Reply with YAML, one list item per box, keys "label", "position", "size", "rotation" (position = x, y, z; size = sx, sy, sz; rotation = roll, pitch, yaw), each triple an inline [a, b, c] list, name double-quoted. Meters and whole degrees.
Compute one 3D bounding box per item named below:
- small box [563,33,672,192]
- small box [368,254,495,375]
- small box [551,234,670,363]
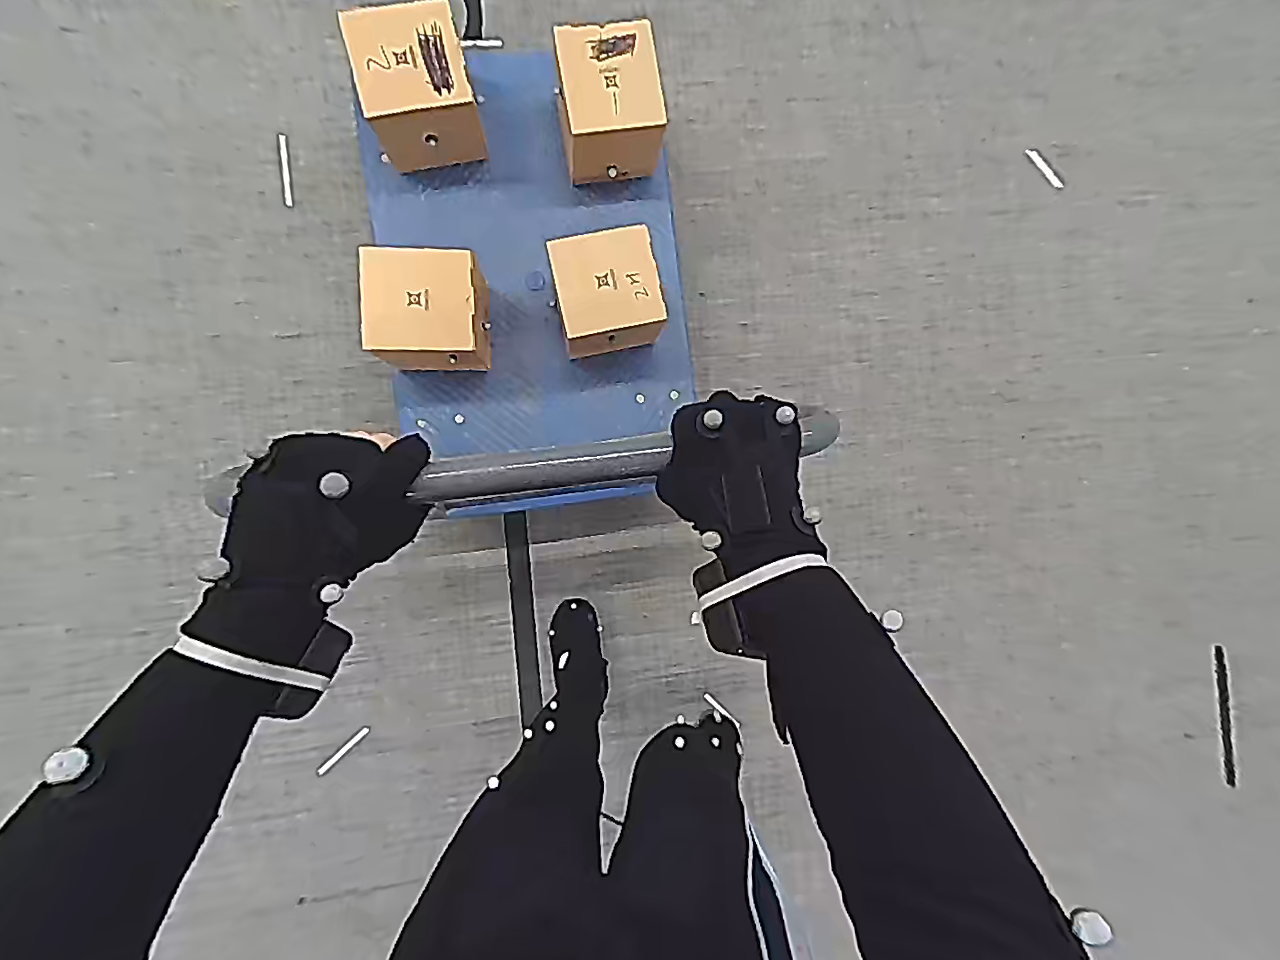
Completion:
- label: "small box"
  position: [-0.048, -0.659, 0.986]
  size: [0.168, 0.176, 0.179]
  rotation: [-10, 93, -7]
- label: "small box"
  position: [-0.358, -0.282, 0.955]
  size: [0.179, 0.176, 0.168]
  rotation: [-1, 91, -8]
- label: "small box"
  position: [-0.056, -0.322, 0.989]
  size: [0.179, 0.176, 0.168]
  rotation: [-12, 92, -6]
